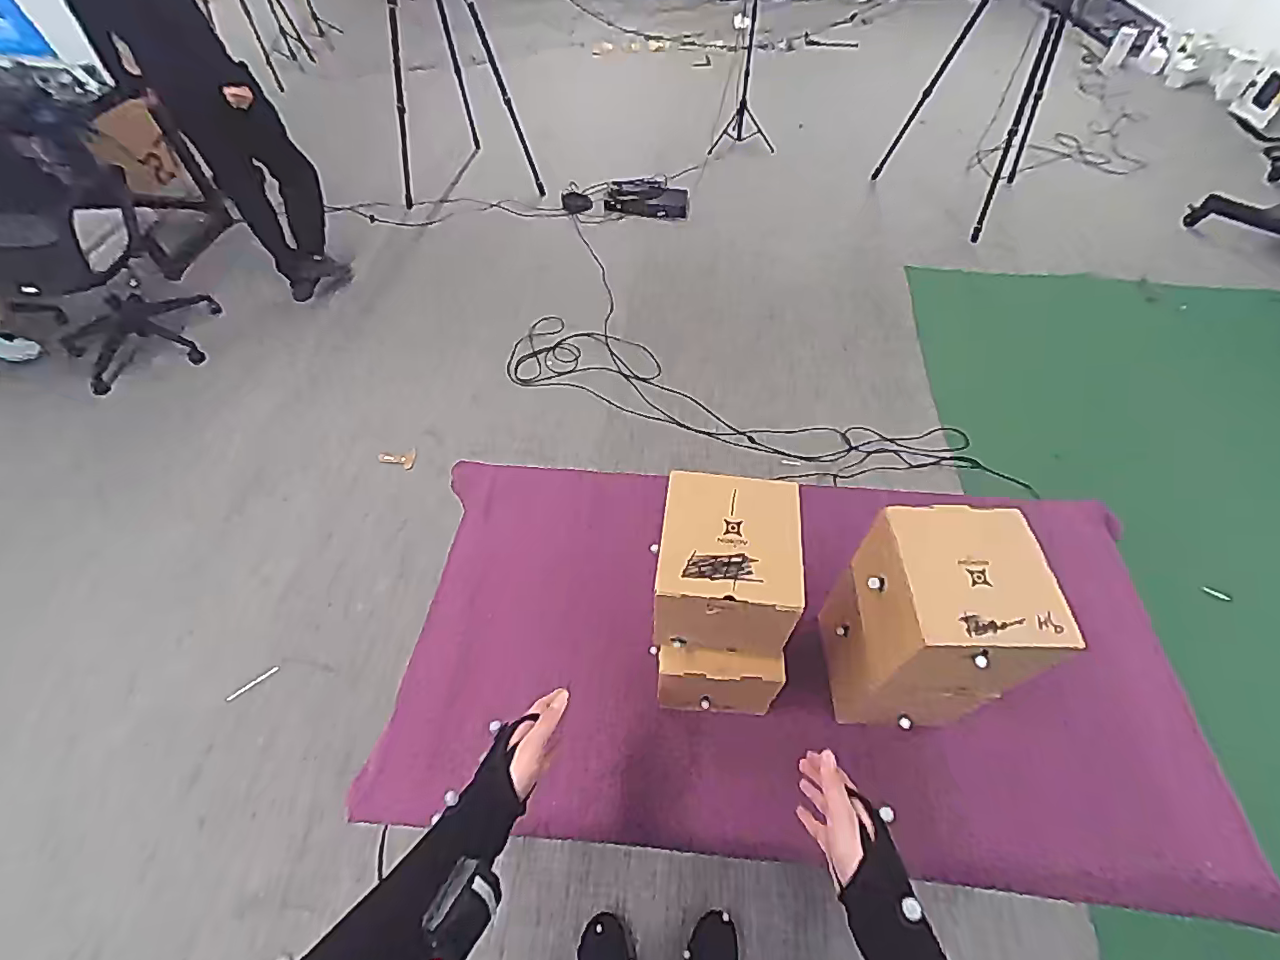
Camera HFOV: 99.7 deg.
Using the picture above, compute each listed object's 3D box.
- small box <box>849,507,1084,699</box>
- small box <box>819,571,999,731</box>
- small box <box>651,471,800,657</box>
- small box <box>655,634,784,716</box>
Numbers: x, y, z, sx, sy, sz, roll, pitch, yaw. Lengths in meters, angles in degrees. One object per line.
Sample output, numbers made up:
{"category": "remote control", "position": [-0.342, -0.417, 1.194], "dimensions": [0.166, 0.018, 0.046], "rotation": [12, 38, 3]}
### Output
{"category": "small box", "position": [0.375, 0.152, 0.667], "dimensions": [0.168, 0.176, 0.179], "rotation": [1, 52, 2]}
{"category": "small box", "position": [0.375, 0.253, 0.796], "dimensions": [0.168, 0.176, 0.179], "rotation": [2, 53, 2]}
{"category": "small box", "position": [0.106, 0.113, 0.701], "dimensions": [0.168, 0.176, 0.179], "rotation": [6, 53, 5]}
{"category": "small box", "position": [0.110, 0.237, 0.813], "dimensions": [0.168, 0.176, 0.179], "rotation": [3, 54, 2]}
